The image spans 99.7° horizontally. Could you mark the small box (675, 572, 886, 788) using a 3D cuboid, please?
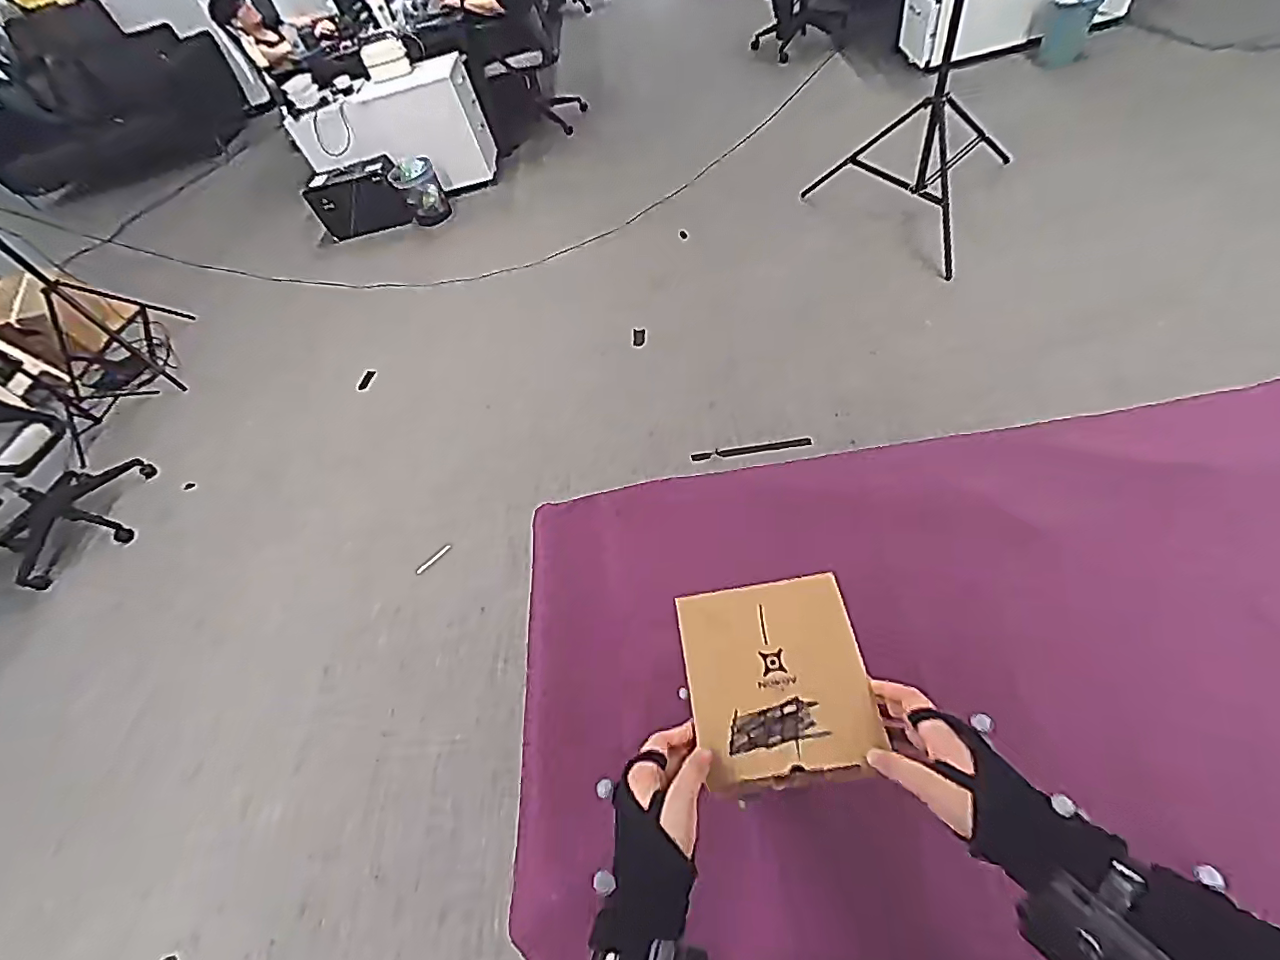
[{"bbox_3d":[0.138,0.221,0.579,0.168,0.176,0.179,-10,55,4],"label":"small box"}]
